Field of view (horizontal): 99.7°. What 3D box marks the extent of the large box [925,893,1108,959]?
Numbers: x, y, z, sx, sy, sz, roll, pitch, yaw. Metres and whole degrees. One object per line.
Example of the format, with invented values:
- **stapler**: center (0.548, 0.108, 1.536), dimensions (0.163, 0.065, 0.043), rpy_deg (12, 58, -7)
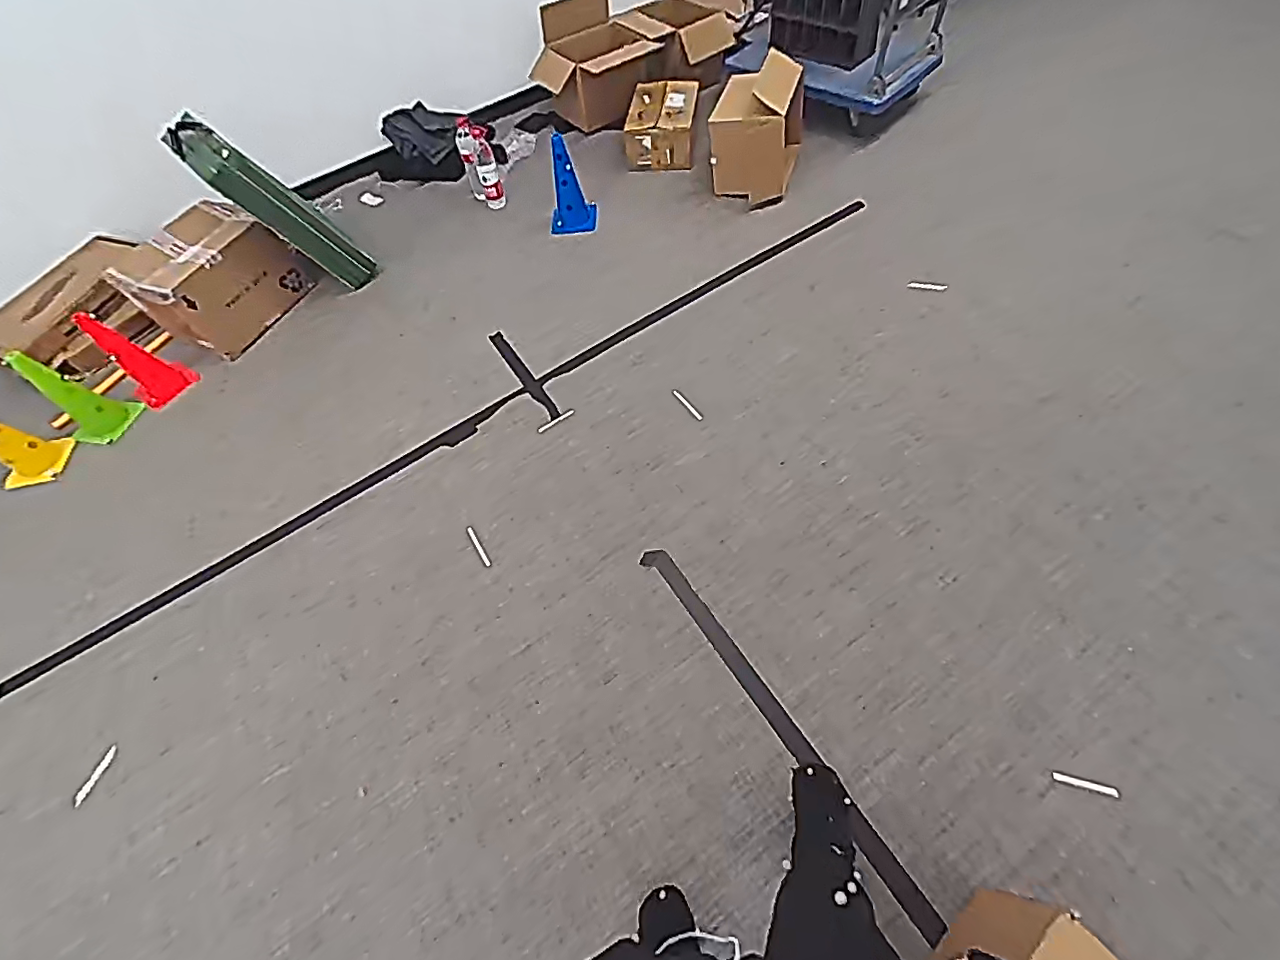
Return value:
- **large box**: center (0.595, 0.942, 0.821), dimensions (0.408, 0.320, 0.320), rpy_deg (-38, 62, -17)
